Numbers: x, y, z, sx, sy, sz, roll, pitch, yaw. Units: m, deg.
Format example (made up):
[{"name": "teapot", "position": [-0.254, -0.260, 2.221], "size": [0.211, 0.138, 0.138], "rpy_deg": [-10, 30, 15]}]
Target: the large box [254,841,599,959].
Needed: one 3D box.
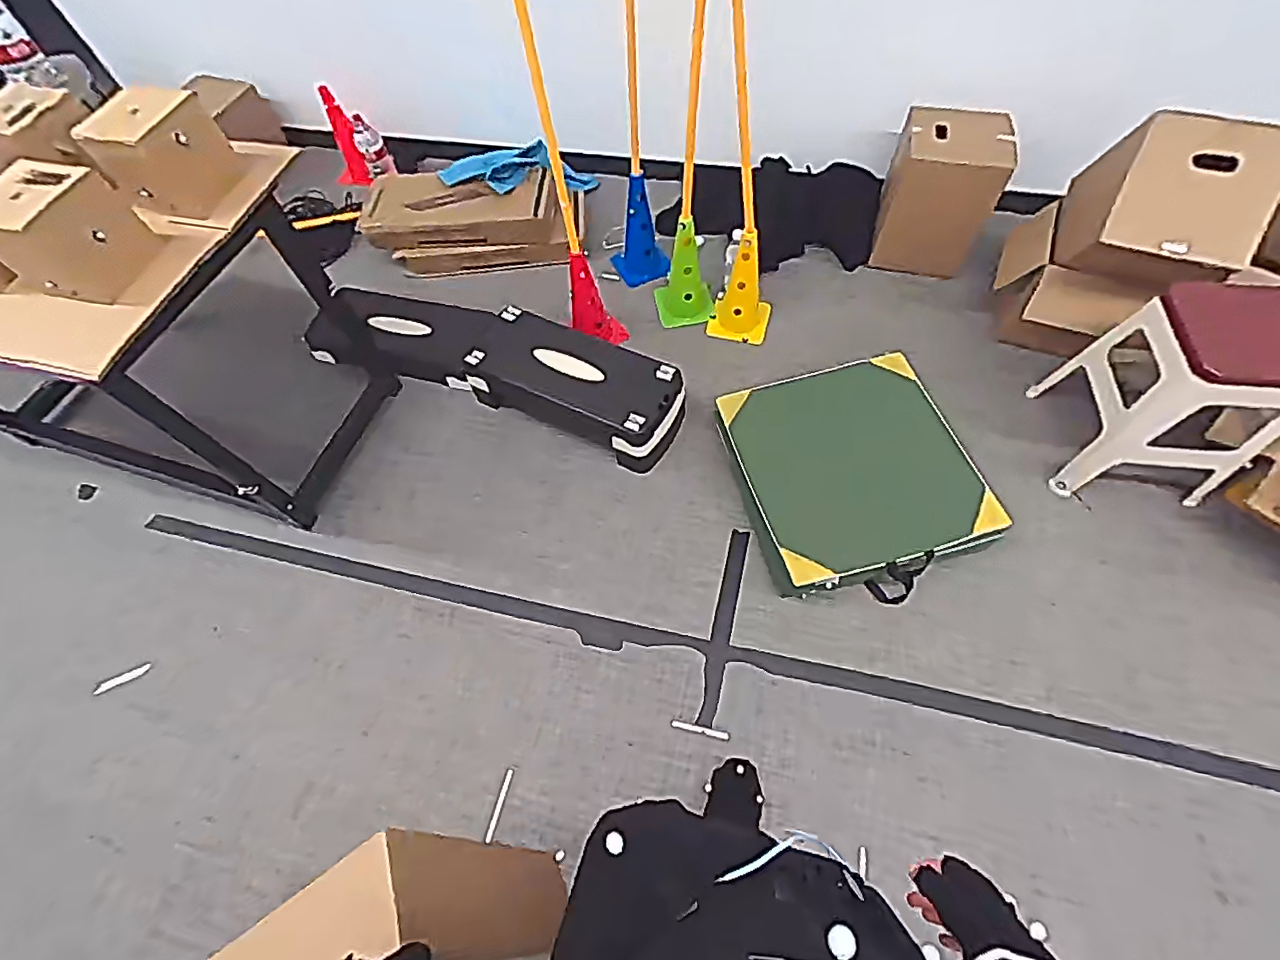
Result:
[{"name": "large box", "position": [-0.263, 0.717, 0.680], "size": [0.320, 0.408, 0.320], "rpy_deg": [-36, 47, -2]}]
